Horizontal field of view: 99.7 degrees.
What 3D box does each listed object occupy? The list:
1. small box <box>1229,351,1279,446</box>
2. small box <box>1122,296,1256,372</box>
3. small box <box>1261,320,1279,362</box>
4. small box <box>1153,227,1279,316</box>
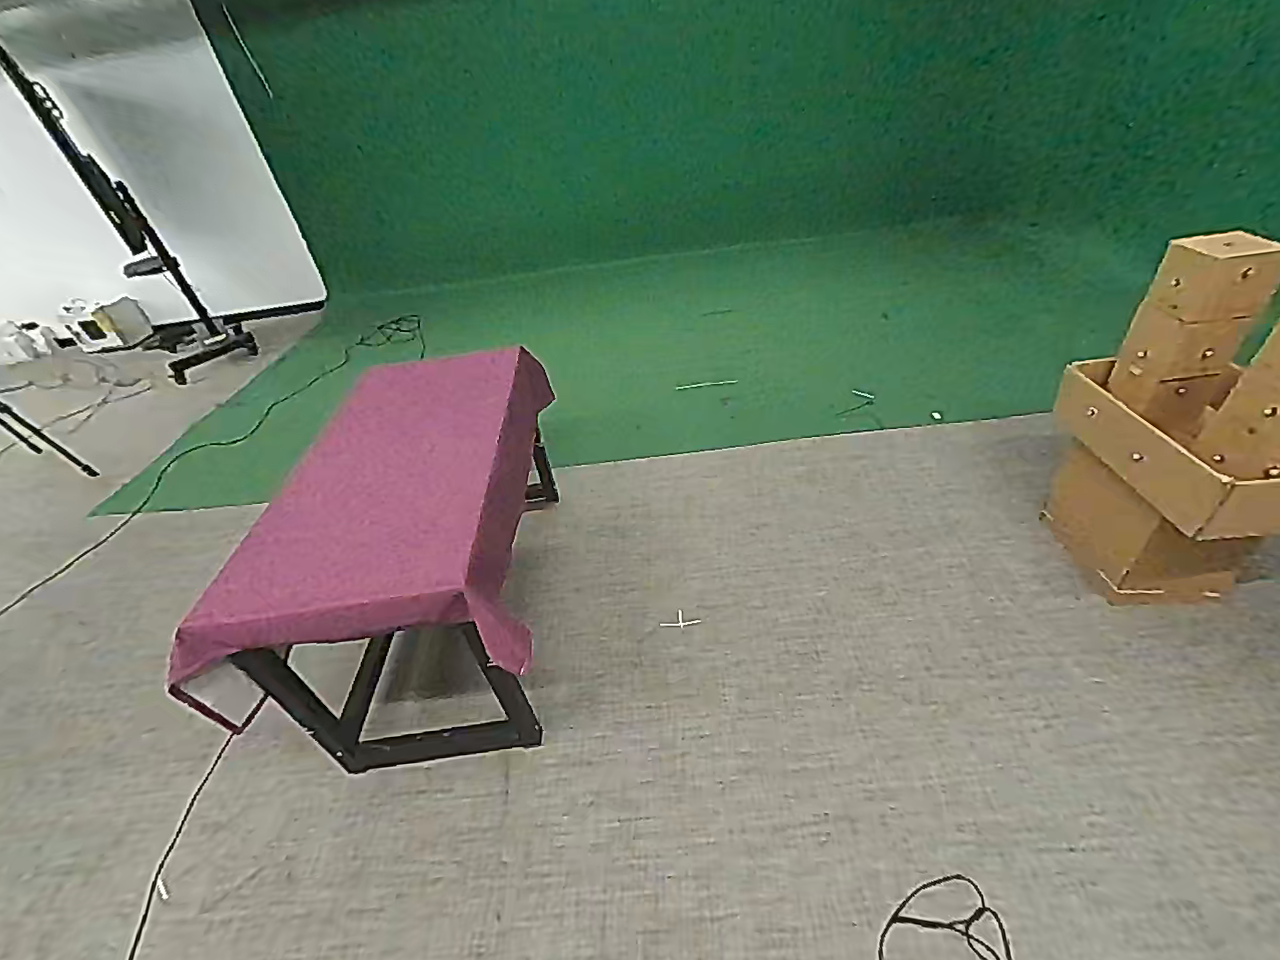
[{"bbox_3d":[1.509,-0.186,1.223,0.179,0.176,0.168,-2,40,10],"label":"small box"},{"bbox_3d":[1.520,-0.413,1.512,0.168,0.176,0.179,-7,38,4],"label":"small box"},{"bbox_3d":[1.484,-0.310,1.121,0.168,0.176,0.179,-6,40,6],"label":"small box"},{"bbox_3d":[1.500,-0.540,1.408,0.179,0.176,0.168,-6,38,6],"label":"small box"}]
